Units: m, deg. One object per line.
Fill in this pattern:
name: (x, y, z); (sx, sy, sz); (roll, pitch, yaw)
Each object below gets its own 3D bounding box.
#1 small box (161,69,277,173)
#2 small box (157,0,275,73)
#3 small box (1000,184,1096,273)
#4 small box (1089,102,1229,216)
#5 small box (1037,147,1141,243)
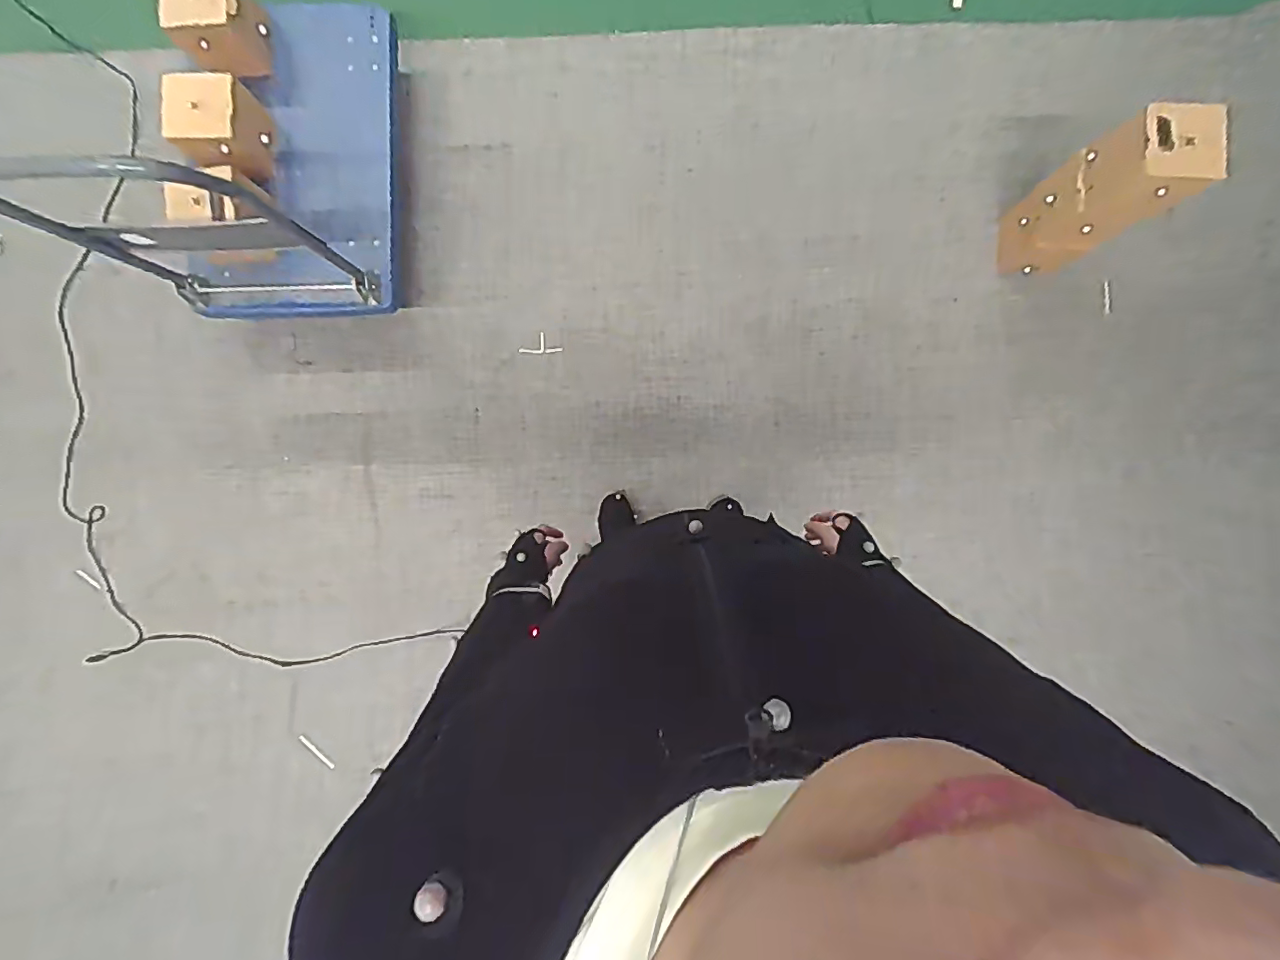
small box: (-1.098, -0.934, 1.419); (0.179, 0.176, 0.168); (0, 89, -1)
small box: (-1.105, -1.210, 1.418); (0.179, 0.176, 0.168); (5, 92, -1)
small box: (1.186, -0.728, 1.576); (0.168, 0.176, 0.179); (4, 89, 1)
small box: (1.185, -0.732, 1.248); (0.179, 0.176, 0.168); (2, 88, 0)
small box: (1.180, -0.737, 1.413); (0.179, 0.176, 0.168); (4, 89, 2)
